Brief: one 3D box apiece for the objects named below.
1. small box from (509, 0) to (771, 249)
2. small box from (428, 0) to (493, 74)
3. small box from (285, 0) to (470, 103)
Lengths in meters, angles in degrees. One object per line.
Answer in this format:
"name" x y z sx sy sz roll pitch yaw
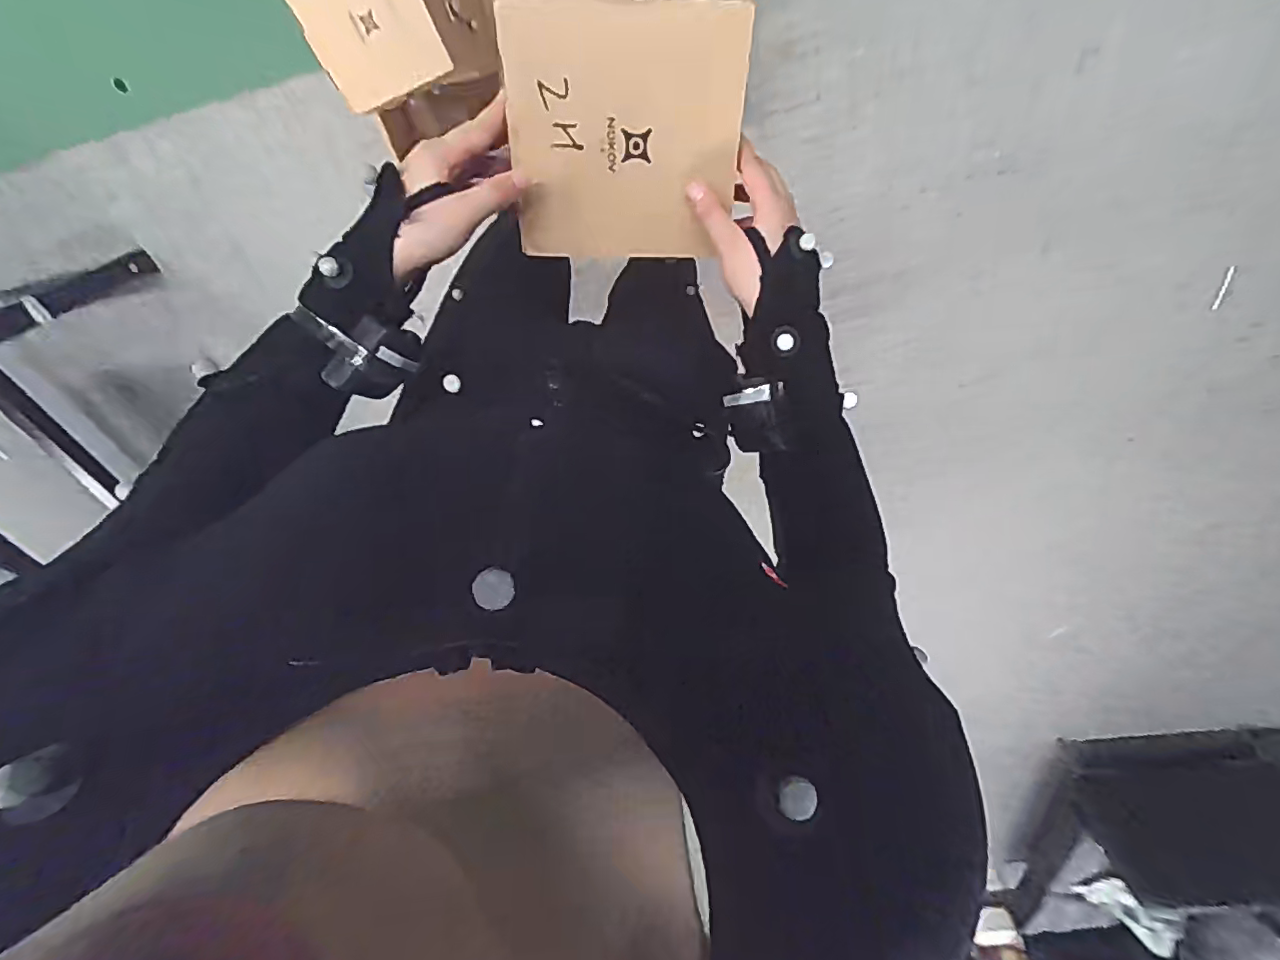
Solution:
"small box" -0.005 -0.310 0.463 0.179 0.176 0.168 0 130 -2
"small box" -0.369 -0.783 0.901 0.179 0.176 0.168 -7 131 7
"small box" -0.373 -0.675 0.777 0.179 0.176 0.168 -17 130 11
